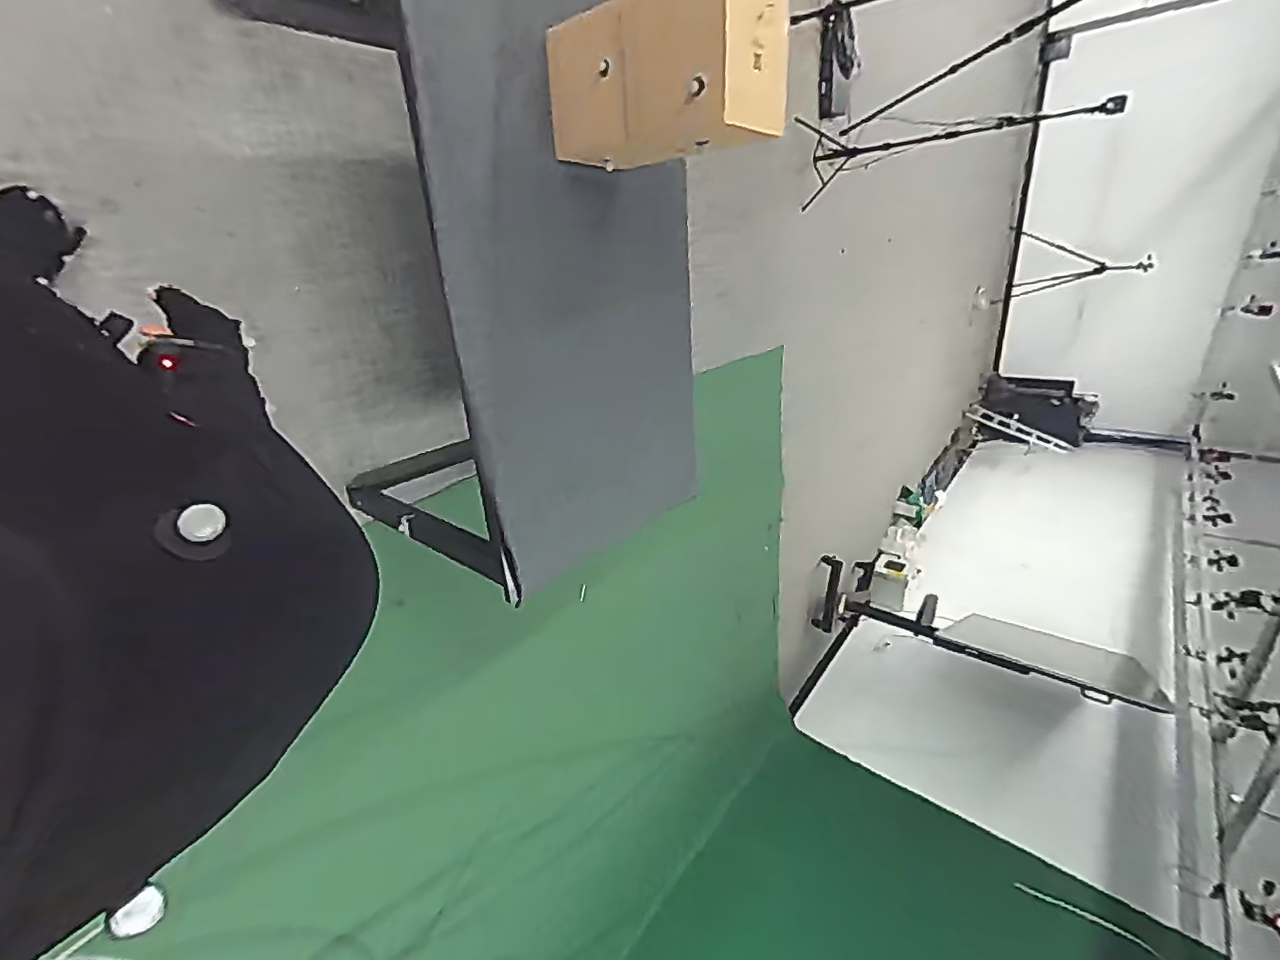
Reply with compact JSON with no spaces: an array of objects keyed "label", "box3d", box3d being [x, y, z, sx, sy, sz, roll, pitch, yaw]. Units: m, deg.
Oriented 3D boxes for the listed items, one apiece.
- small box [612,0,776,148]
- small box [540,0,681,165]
[{"label":"small box","box3d":[0.077,-0.594,0.775,0.168,0.176,0.179,-27,122,-45]},{"label":"small box","box3d":[-0.046,-0.632,0.878,0.168,0.176,0.179,-25,121,-45]}]
